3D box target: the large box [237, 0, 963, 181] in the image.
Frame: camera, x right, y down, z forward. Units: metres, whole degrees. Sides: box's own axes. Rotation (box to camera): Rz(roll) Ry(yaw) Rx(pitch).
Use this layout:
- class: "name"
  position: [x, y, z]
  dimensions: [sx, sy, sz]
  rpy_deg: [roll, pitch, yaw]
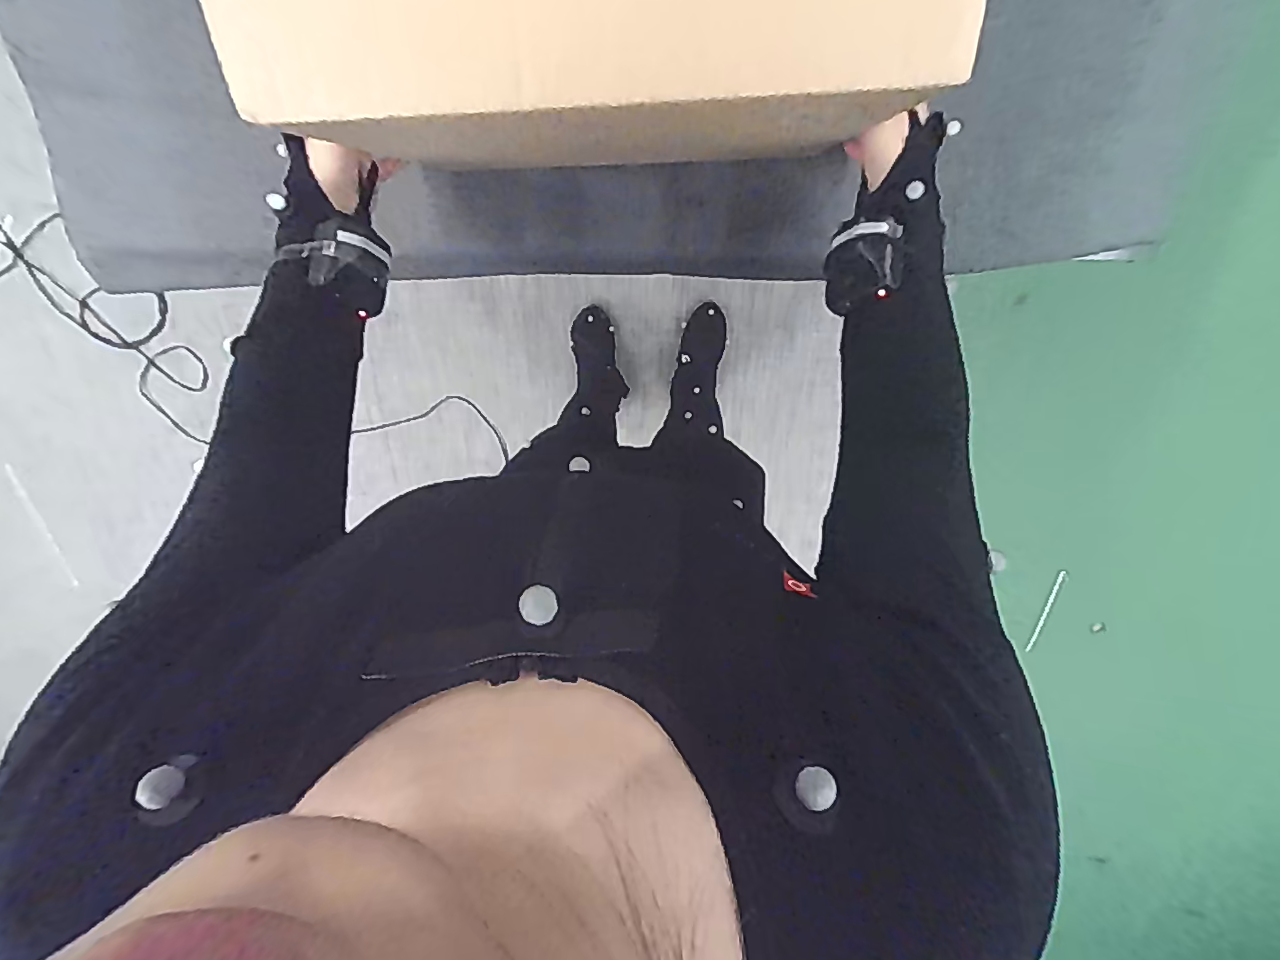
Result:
- class: "large box"
  position: [-0.027, -0.415, 0.388]
  dimensions: [0.408, 0.320, 0.320]
  rpy_deg: [-1, 116, 3]
